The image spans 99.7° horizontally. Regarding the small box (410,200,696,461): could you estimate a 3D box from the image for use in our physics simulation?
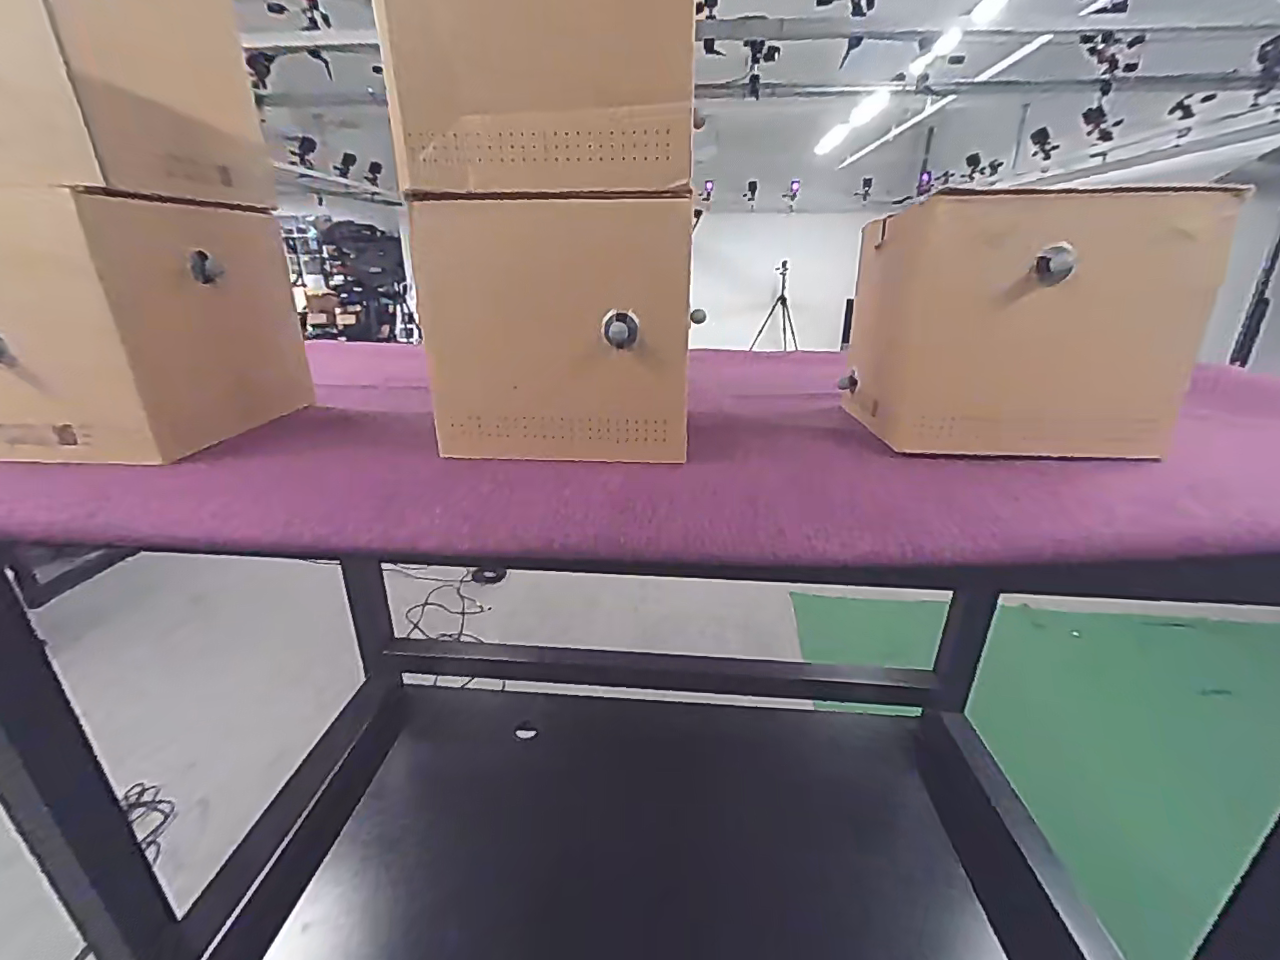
[{"bbox_3d":[-0.049,-0.116,0.426,0.179,0.176,0.168,0,20,3],"label":"small box"}]

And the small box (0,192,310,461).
[{"bbox_3d":[-0.392,-0.119,0.418,0.168,0.176,0.179,2,21,1],"label":"small box"}]

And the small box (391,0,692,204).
[{"bbox_3d":[-0.055,-0.269,0.370,0.179,0.176,0.168,1,20,1],"label":"small box"}]

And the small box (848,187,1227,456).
[{"bbox_3d":[0.274,-0.119,0.427,0.179,0.176,0.168,2,19,6],"label":"small box"}]
